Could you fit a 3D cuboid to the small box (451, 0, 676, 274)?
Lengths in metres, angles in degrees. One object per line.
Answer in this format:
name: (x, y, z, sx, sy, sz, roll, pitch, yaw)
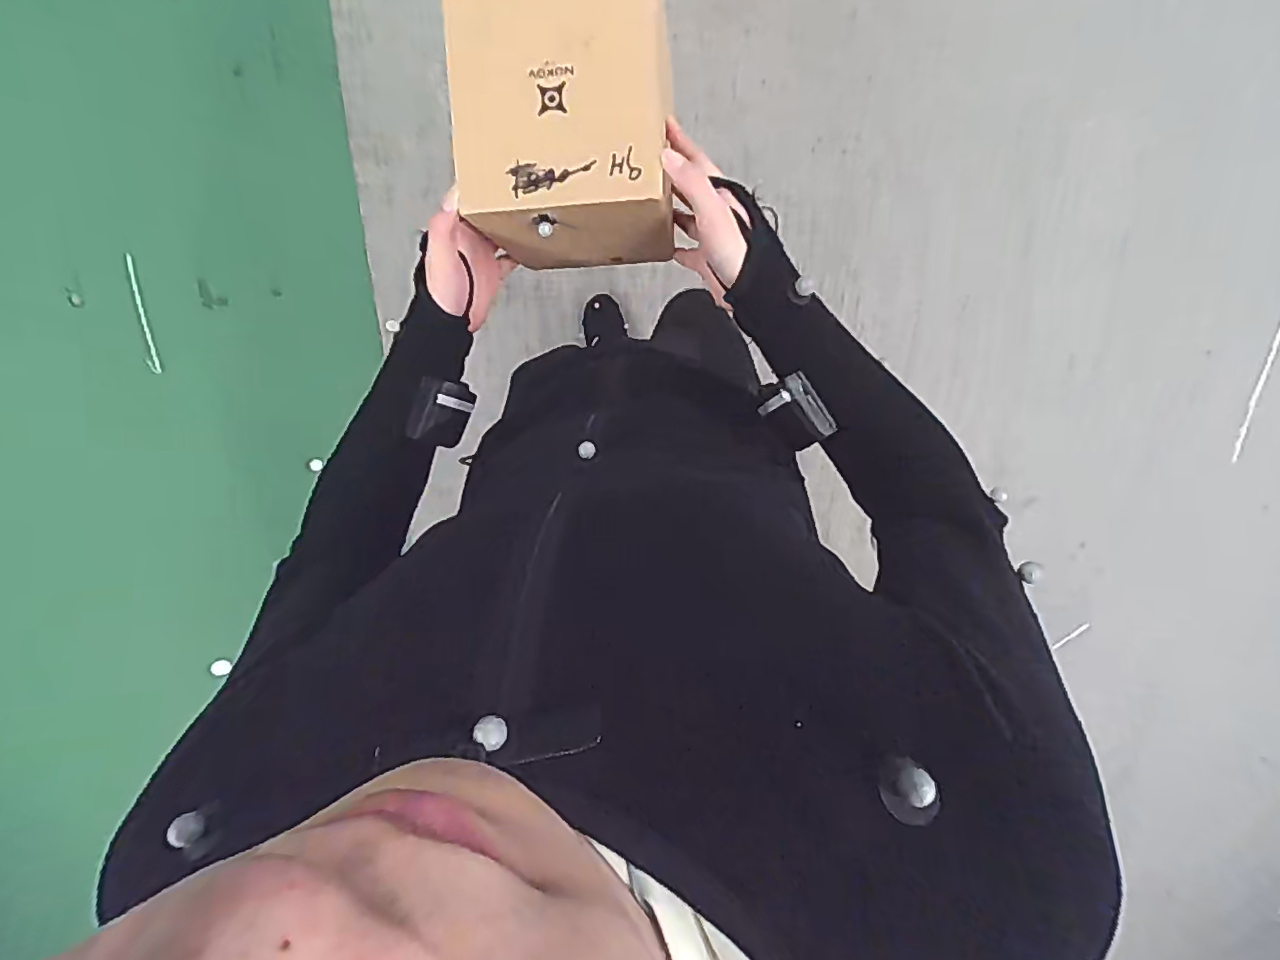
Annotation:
small box: (-0.056, -0.302, 0.490, 0.168, 0.176, 0.179, 0, 95, 7)
